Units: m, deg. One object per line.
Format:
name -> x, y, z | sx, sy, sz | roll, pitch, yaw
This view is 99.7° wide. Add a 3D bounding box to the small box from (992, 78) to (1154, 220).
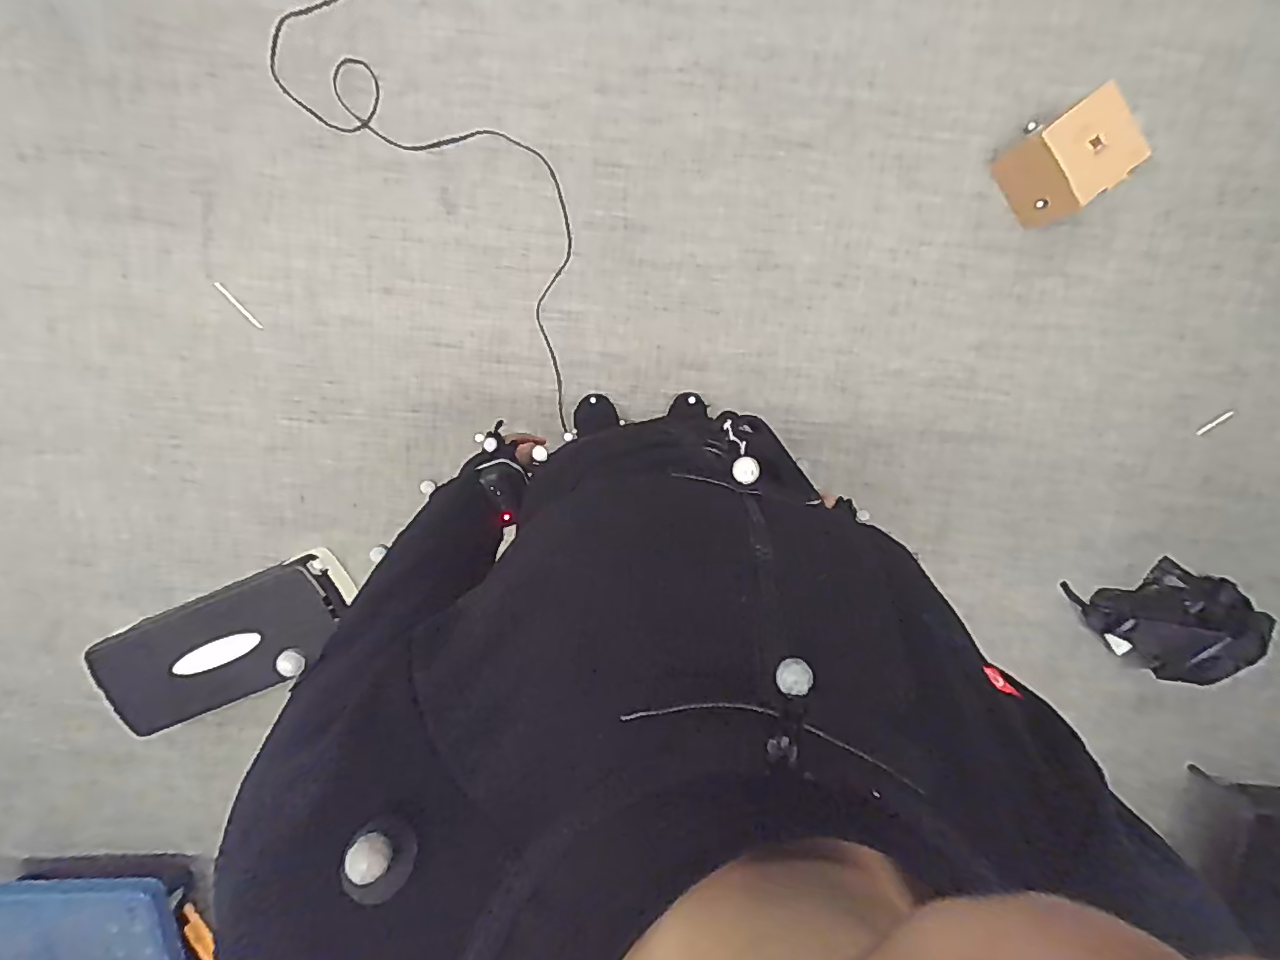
small box -> 0.904, -0.681, 1.146 | 0.168, 0.176, 0.179 | -38, 98, 6
